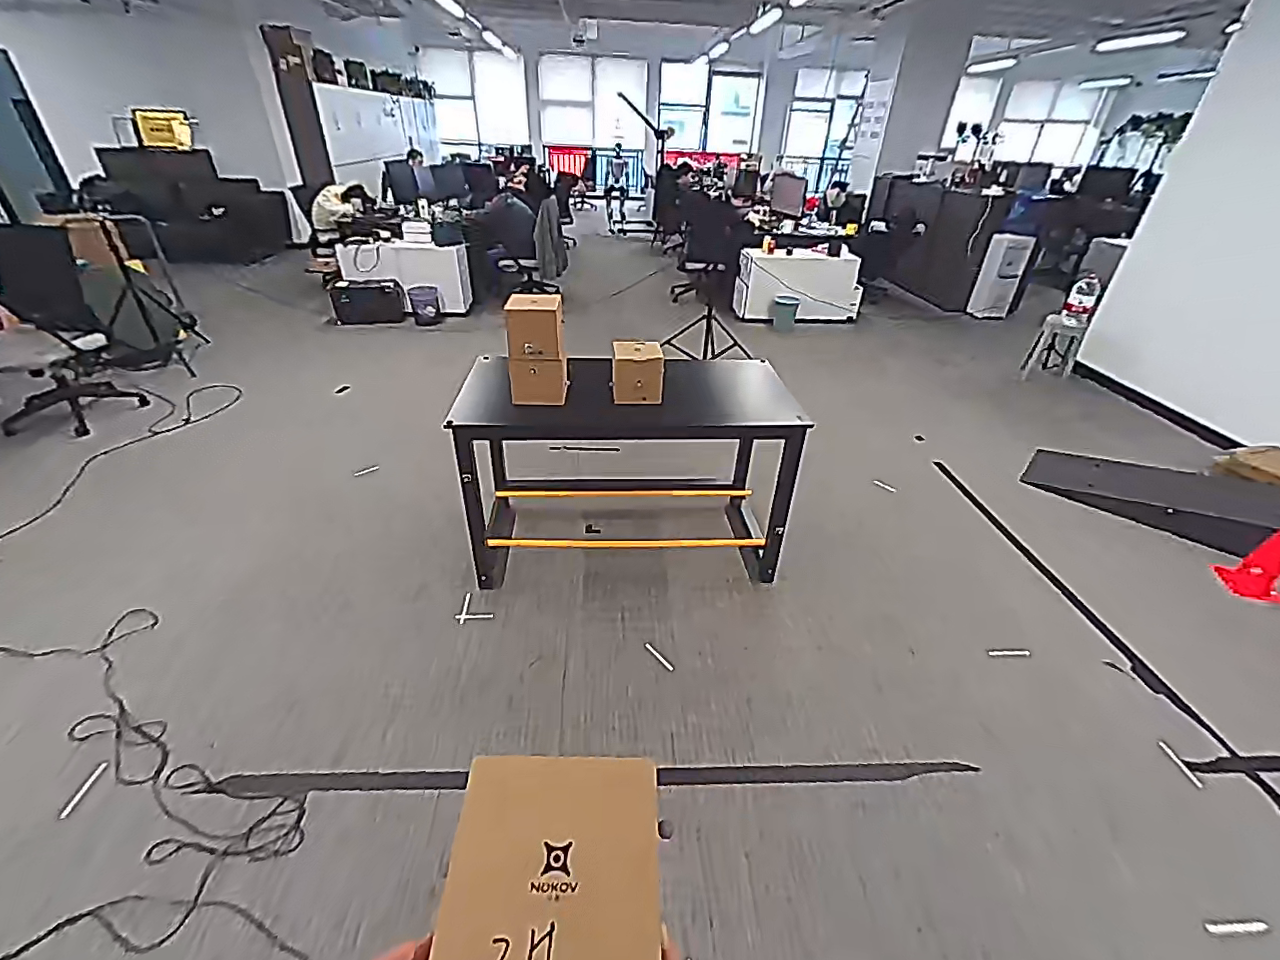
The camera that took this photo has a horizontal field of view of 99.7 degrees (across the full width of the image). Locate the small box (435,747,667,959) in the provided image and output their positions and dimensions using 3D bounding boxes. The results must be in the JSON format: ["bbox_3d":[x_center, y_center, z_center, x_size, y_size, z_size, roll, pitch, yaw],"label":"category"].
[{"bbox_3d":[-0.066,0.362,0.477,0.168,0.176,0.179,1,40,-2],"label":"small box"}]

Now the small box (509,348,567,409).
[{"bbox_3d":[-0.352,-0.358,1.890,0.179,0.176,0.168,1,33,-4],"label":"small box"}]

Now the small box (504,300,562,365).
[{"bbox_3d":[-0.350,-0.493,1.800,0.168,0.176,0.179,-2,34,-3],"label":"small box"}]

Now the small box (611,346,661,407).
[{"bbox_3d":[-0.017,-0.369,1.928,0.168,0.176,0.179,-2,33,-5],"label":"small box"}]
